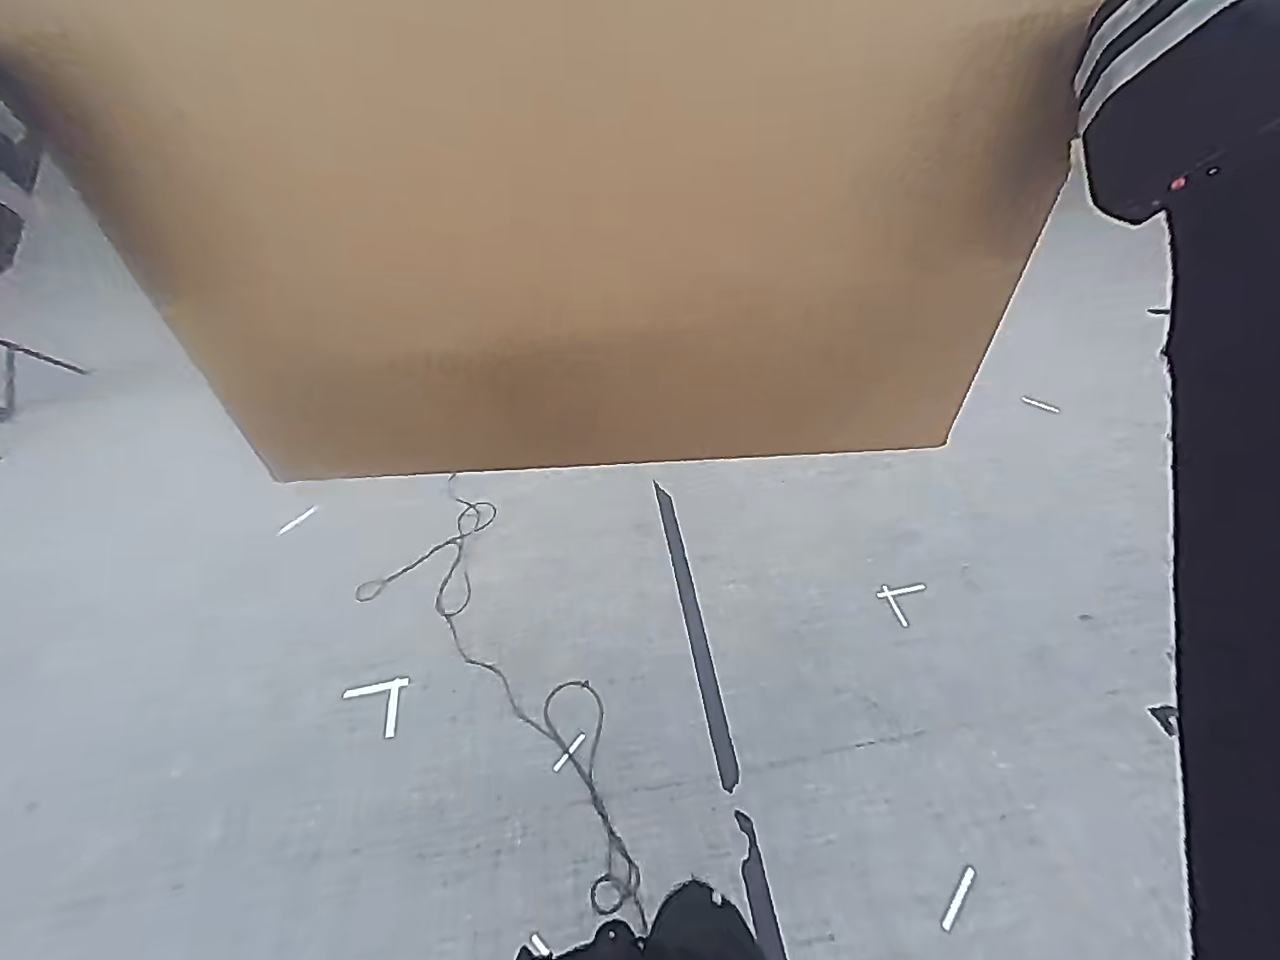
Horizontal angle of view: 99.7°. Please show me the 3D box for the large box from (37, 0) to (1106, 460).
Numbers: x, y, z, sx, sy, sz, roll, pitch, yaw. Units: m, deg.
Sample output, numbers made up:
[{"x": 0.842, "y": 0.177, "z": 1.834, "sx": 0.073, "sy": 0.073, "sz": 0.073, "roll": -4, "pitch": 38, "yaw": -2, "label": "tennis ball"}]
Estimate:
[{"x": -0.025, "y": -0.231, "z": 0.347, "sx": 0.408, "sy": 0.320, "sz": 0.320, "roll": -3, "pitch": 43, "yaw": -2, "label": "large box"}]
